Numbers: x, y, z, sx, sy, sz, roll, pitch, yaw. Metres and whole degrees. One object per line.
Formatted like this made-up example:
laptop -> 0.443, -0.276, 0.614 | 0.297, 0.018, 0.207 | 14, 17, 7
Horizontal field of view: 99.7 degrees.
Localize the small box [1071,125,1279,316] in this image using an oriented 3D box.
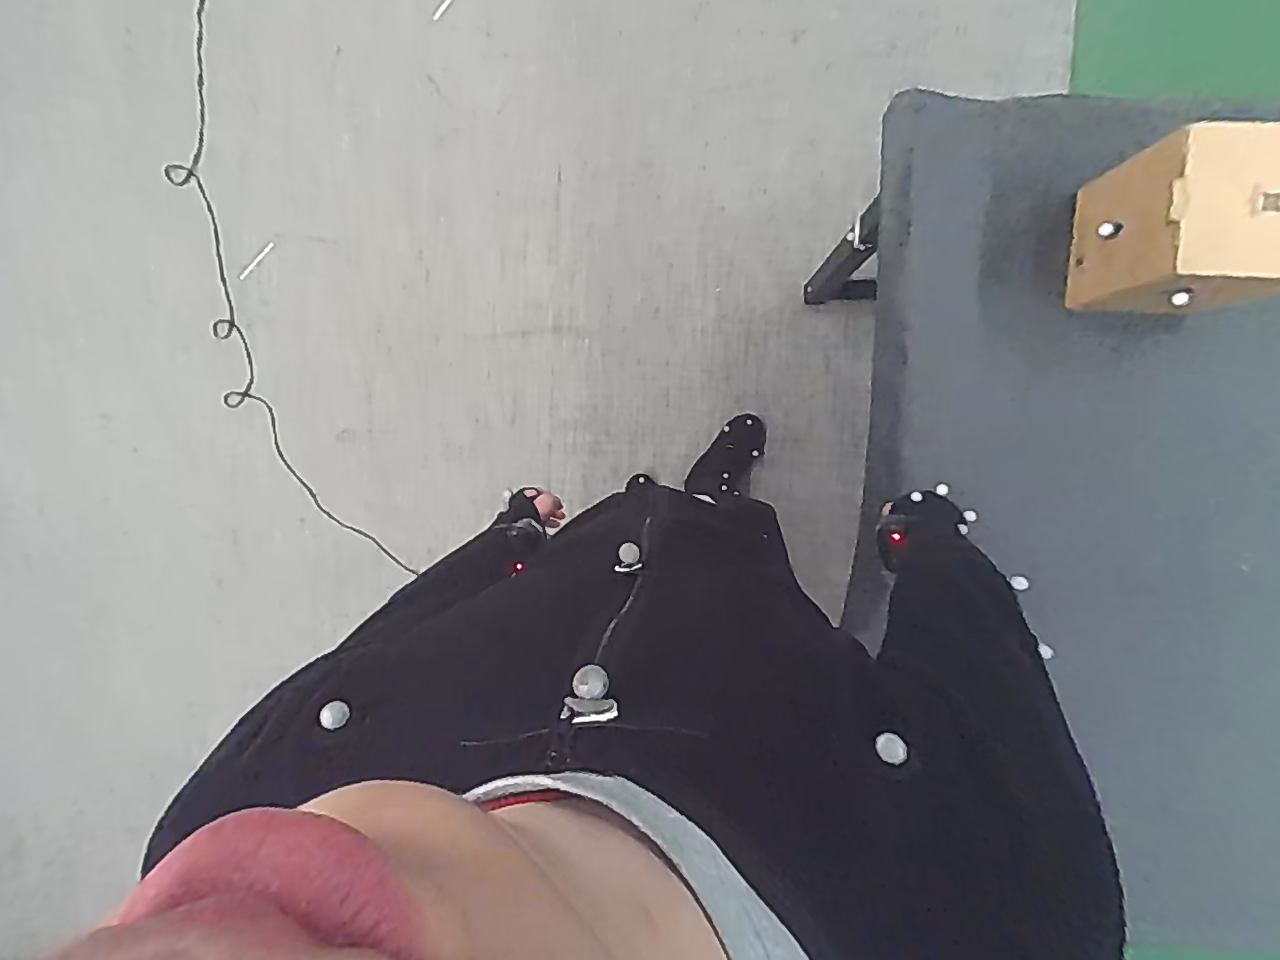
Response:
small box -> 0.687, -0.307, 0.672 | 0.179, 0.176, 0.168 | 4, 95, 4
